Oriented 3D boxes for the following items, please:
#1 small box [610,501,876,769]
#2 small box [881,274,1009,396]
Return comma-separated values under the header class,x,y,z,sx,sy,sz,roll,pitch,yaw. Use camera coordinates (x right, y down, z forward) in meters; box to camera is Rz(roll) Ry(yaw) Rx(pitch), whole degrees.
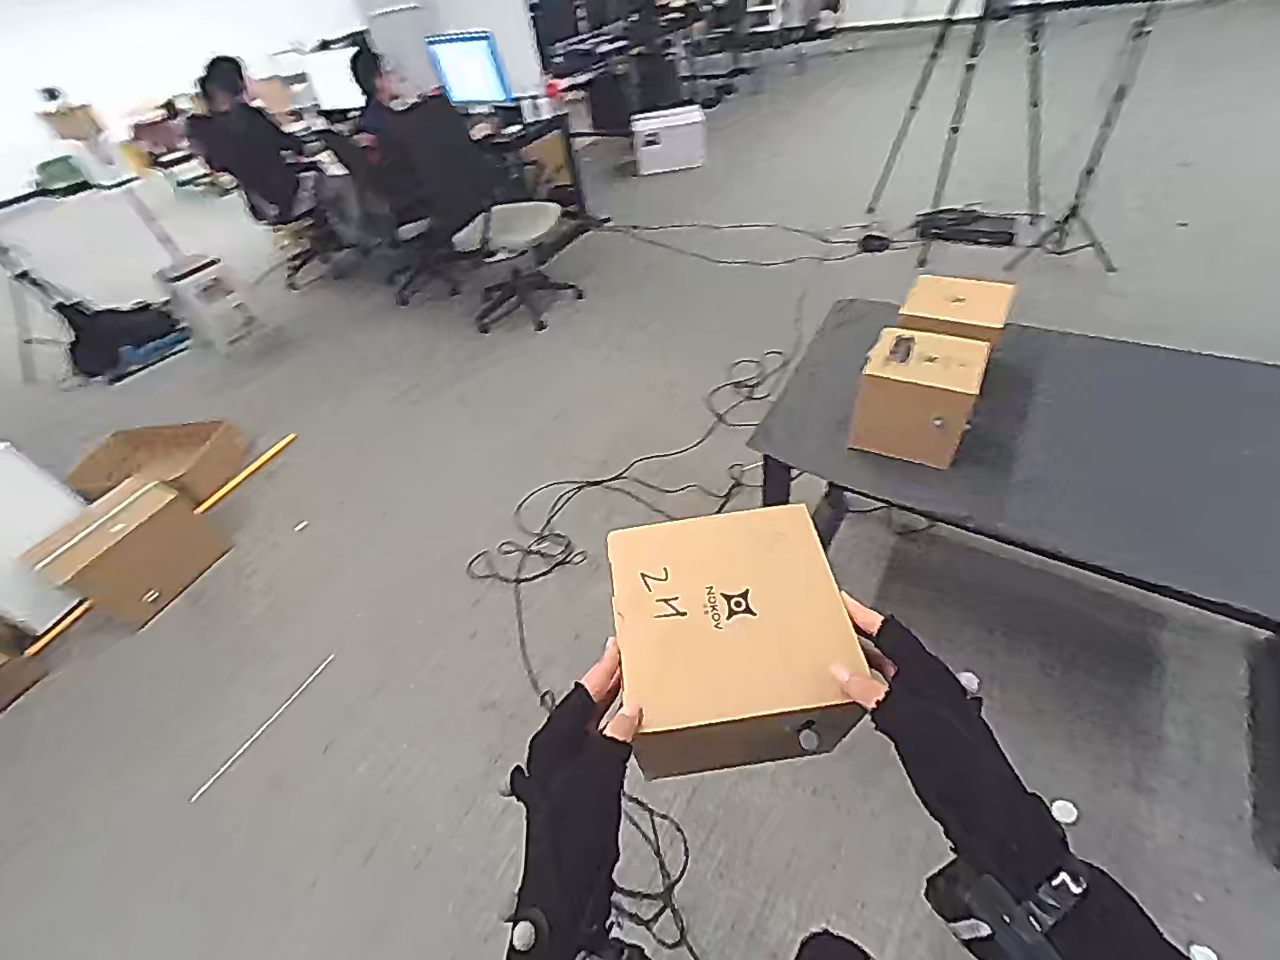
class,x,y,z,sx,sy,sz,roll,pitch,yaw
small box,0.073,0.140,0.473,0.179,0.176,0.168,-8,51,1
small box,0.615,-0.294,1.103,0.179,0.176,0.168,18,53,27
